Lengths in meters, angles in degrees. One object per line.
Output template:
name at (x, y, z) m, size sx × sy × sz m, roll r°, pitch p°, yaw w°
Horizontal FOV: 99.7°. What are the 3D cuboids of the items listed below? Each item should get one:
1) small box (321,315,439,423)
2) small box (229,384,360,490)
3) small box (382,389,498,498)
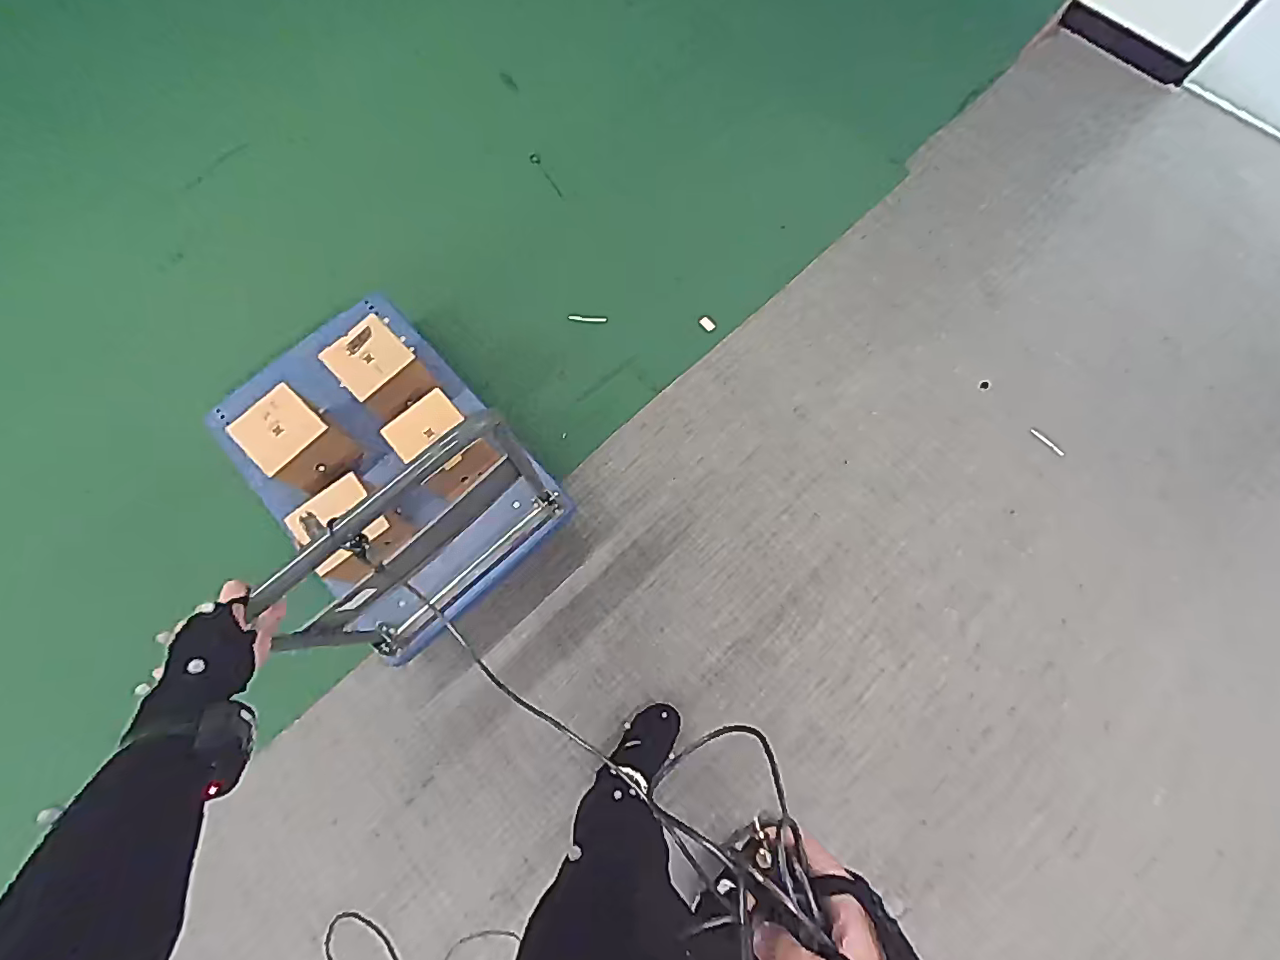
small box at (-0.646, -0.269, 1.361) m, size 0.168 × 0.176 × 0.179 m, roll -44°, pitch 78°, yaw -10°
small box at (-0.827, -0.093, 1.315) m, size 0.179 × 0.176 × 0.168 m, roll 42°, pitch 78°, yaw 12°
small box at (-0.473, -0.080, 1.303) m, size 0.168 × 0.176 × 0.179 m, roll -41°, pitch 77°, yaw -10°
